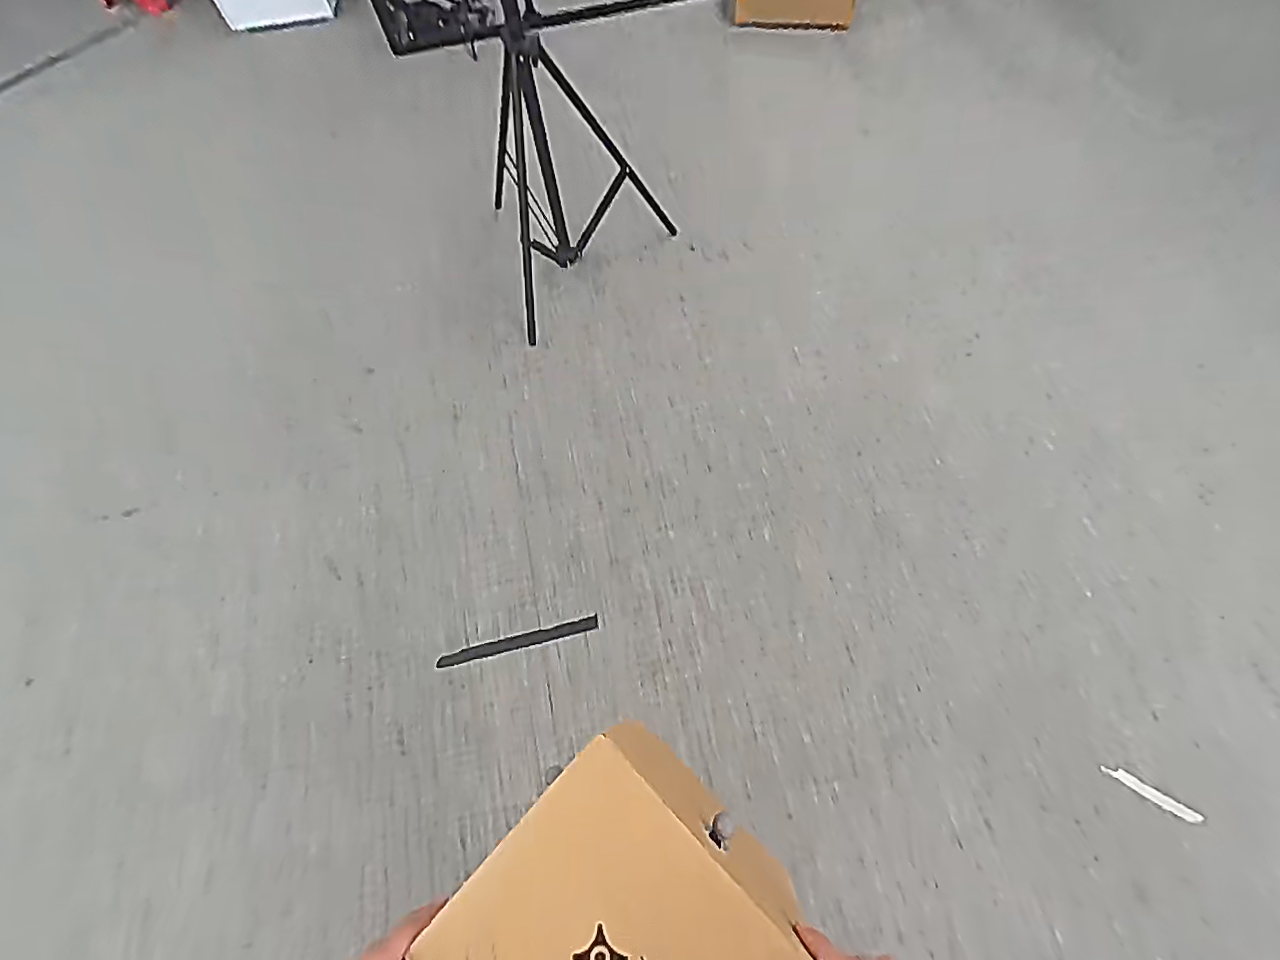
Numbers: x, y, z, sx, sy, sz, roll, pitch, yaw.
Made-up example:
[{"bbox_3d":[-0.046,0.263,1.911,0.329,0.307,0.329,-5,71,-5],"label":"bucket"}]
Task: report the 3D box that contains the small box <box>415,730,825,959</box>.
[{"bbox_3d":[-0.006,0.296,0.370,0.179,0.176,0.168,40,79,18],"label":"small box"}]
